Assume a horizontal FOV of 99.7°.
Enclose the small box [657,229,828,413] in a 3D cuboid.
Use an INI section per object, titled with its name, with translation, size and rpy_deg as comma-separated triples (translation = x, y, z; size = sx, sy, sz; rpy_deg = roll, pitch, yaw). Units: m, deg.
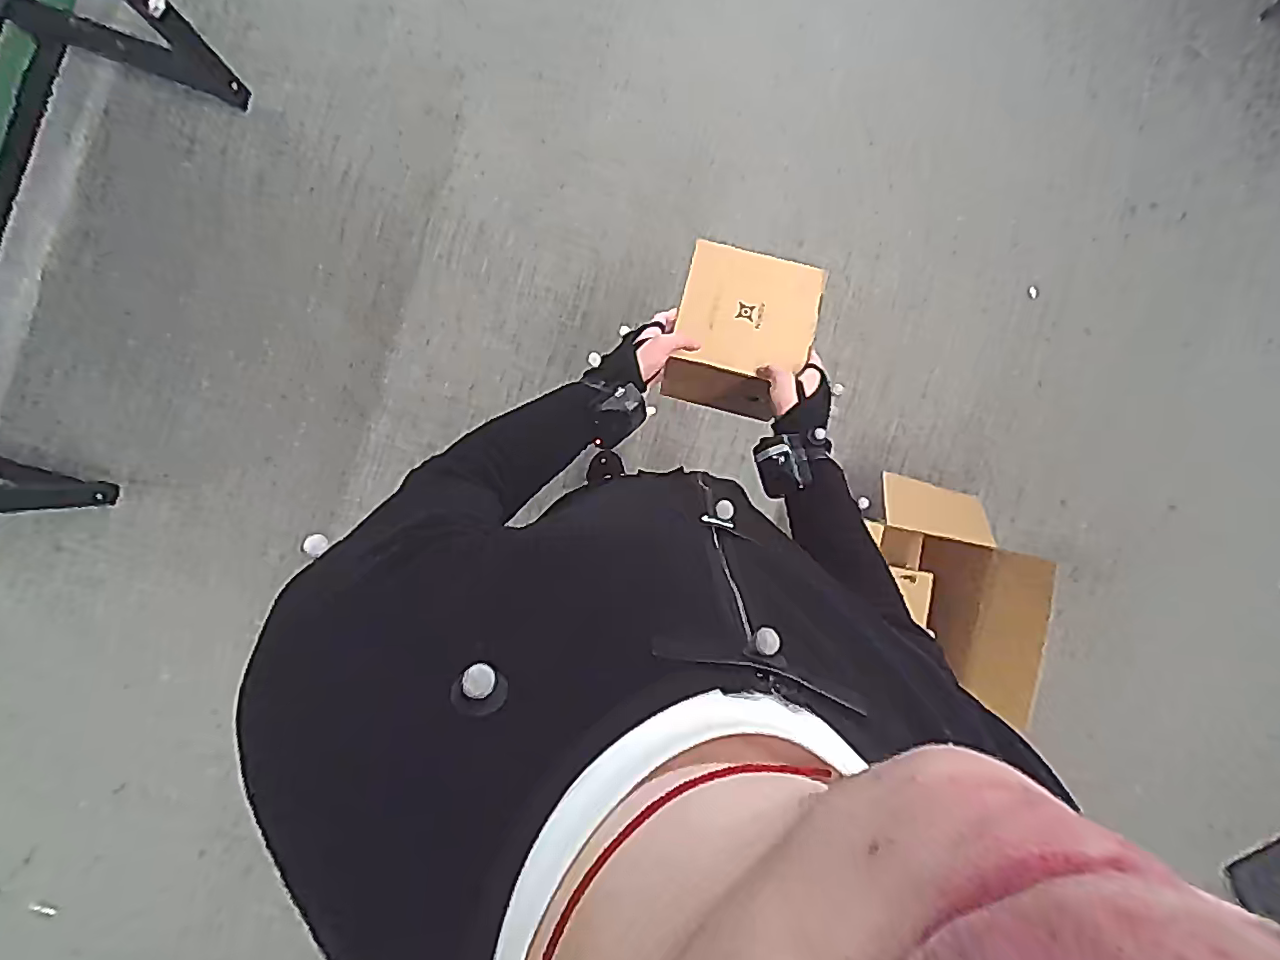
[small box]
translation = 0.131, -0.205, 0.748
size = 0.179, 0.176, 0.168
rpy_deg = 15, 79, 1
